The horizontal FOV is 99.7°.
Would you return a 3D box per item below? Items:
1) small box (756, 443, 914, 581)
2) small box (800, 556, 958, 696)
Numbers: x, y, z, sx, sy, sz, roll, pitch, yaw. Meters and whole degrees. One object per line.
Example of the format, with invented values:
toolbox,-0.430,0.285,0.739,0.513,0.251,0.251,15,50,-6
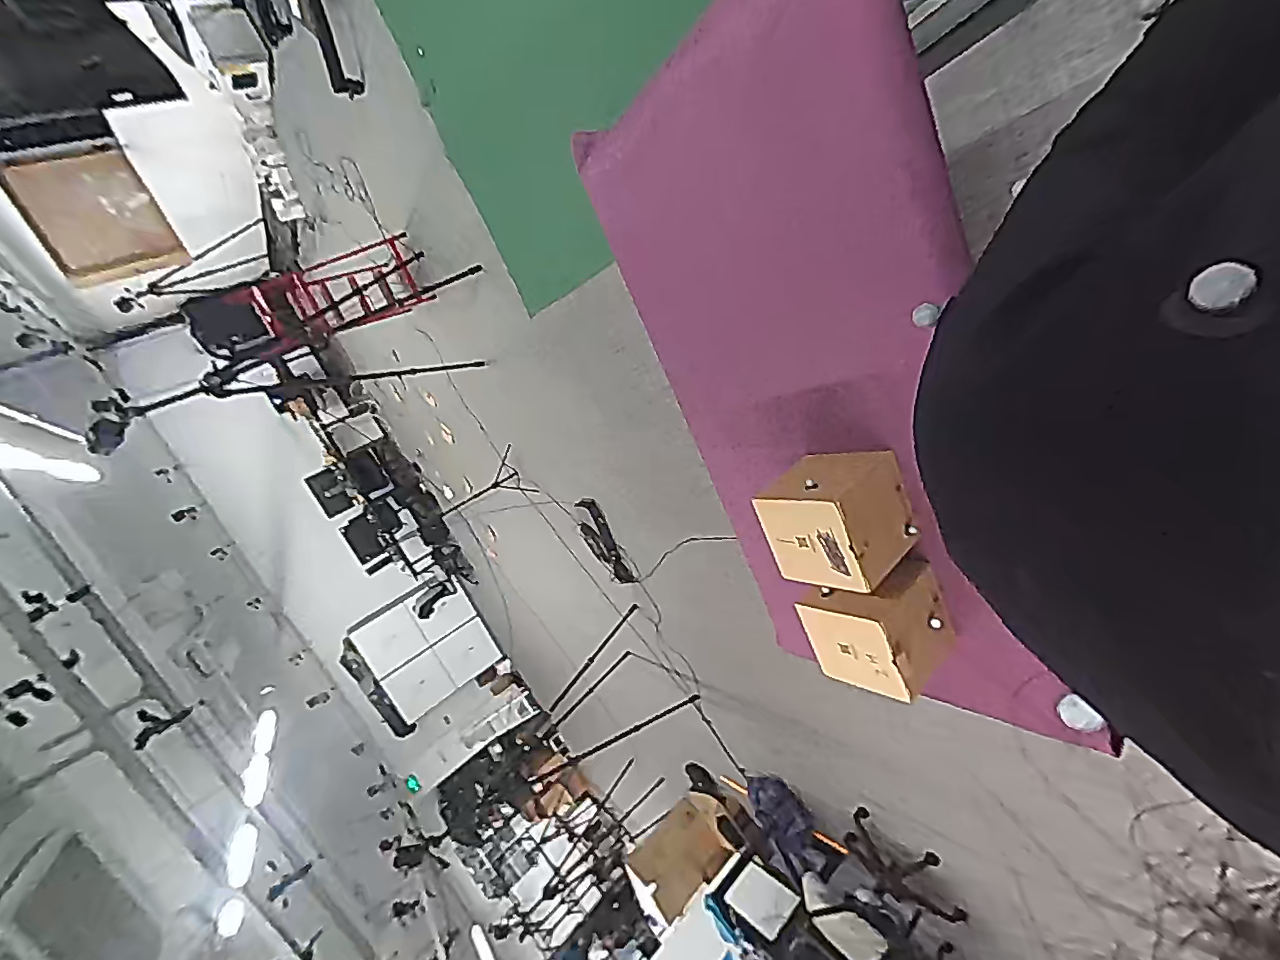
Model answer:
small box,0.338,0.050,0.920,0.179,0.176,0.168,-7,116,56
small box,0.427,0.245,0.968,0.179,0.176,0.168,-3,116,57
